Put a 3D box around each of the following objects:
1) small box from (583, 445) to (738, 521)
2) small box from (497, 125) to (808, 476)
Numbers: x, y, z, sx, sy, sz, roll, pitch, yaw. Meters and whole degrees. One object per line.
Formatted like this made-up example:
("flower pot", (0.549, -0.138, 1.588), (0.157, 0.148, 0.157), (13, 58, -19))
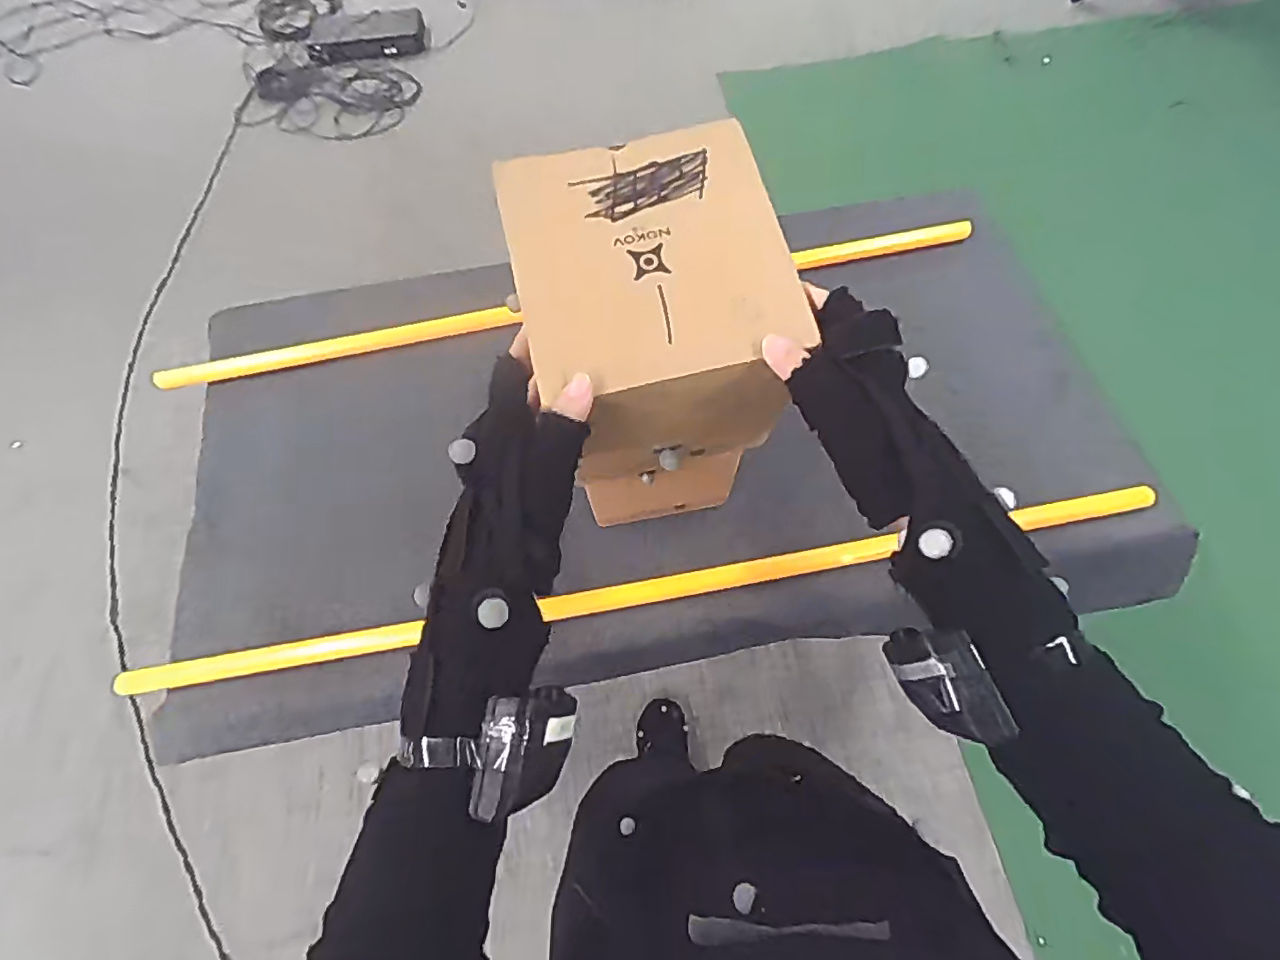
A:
("small box", (0.008, -0.069, 0.645), (0.168, 0.176, 0.179), (-10, 66, -2))
("small box", (0.002, -0.120, 0.414), (0.168, 0.176, 0.179), (-13, 75, -3))
